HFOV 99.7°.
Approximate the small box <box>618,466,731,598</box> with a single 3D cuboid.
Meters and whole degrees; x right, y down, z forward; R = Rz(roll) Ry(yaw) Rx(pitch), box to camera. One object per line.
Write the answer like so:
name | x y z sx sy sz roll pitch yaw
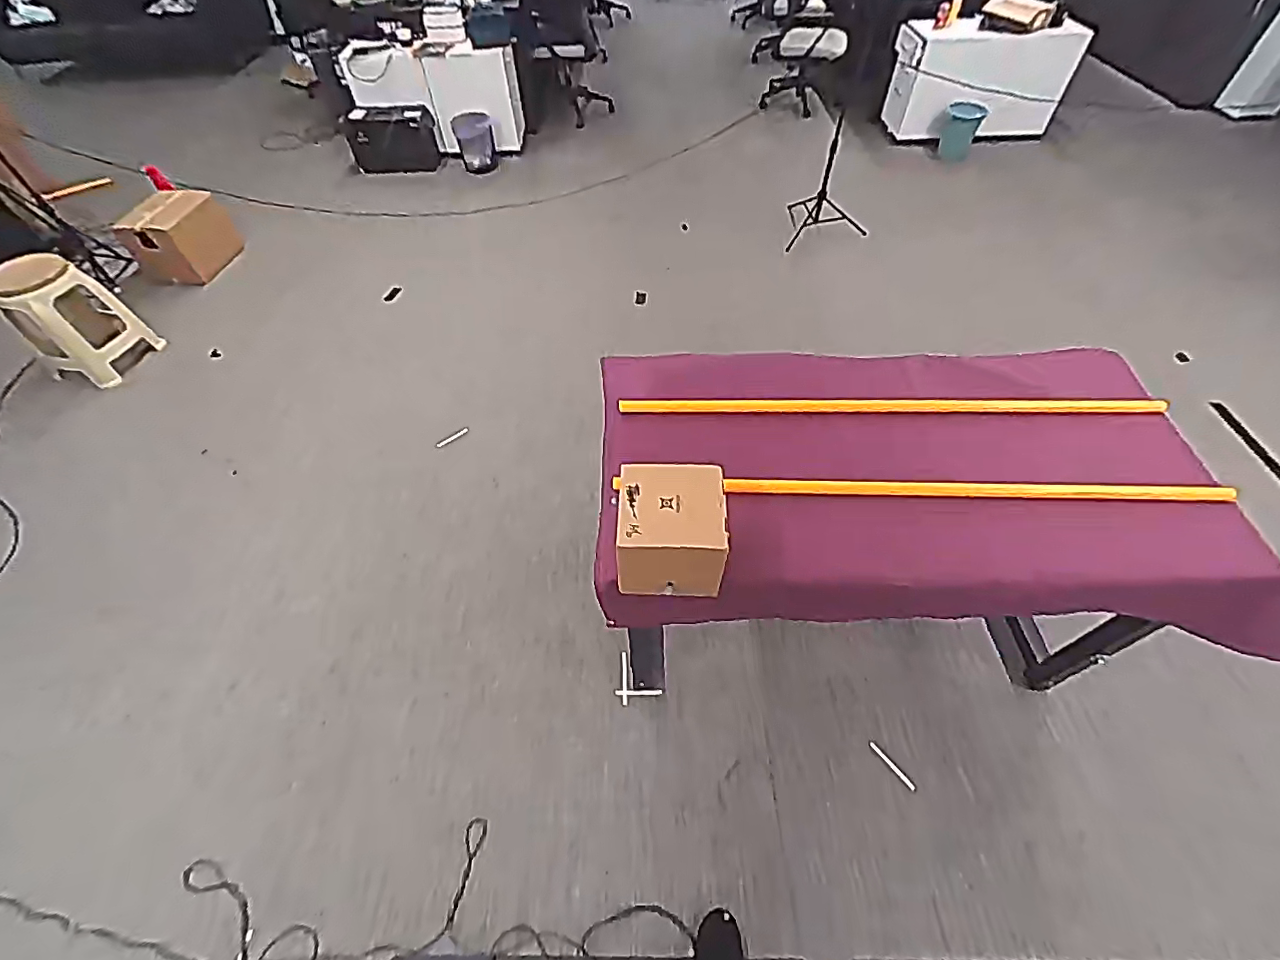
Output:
small box | 0.055 0.095 0.938 0.179 0.176 0.168 2 52 1
